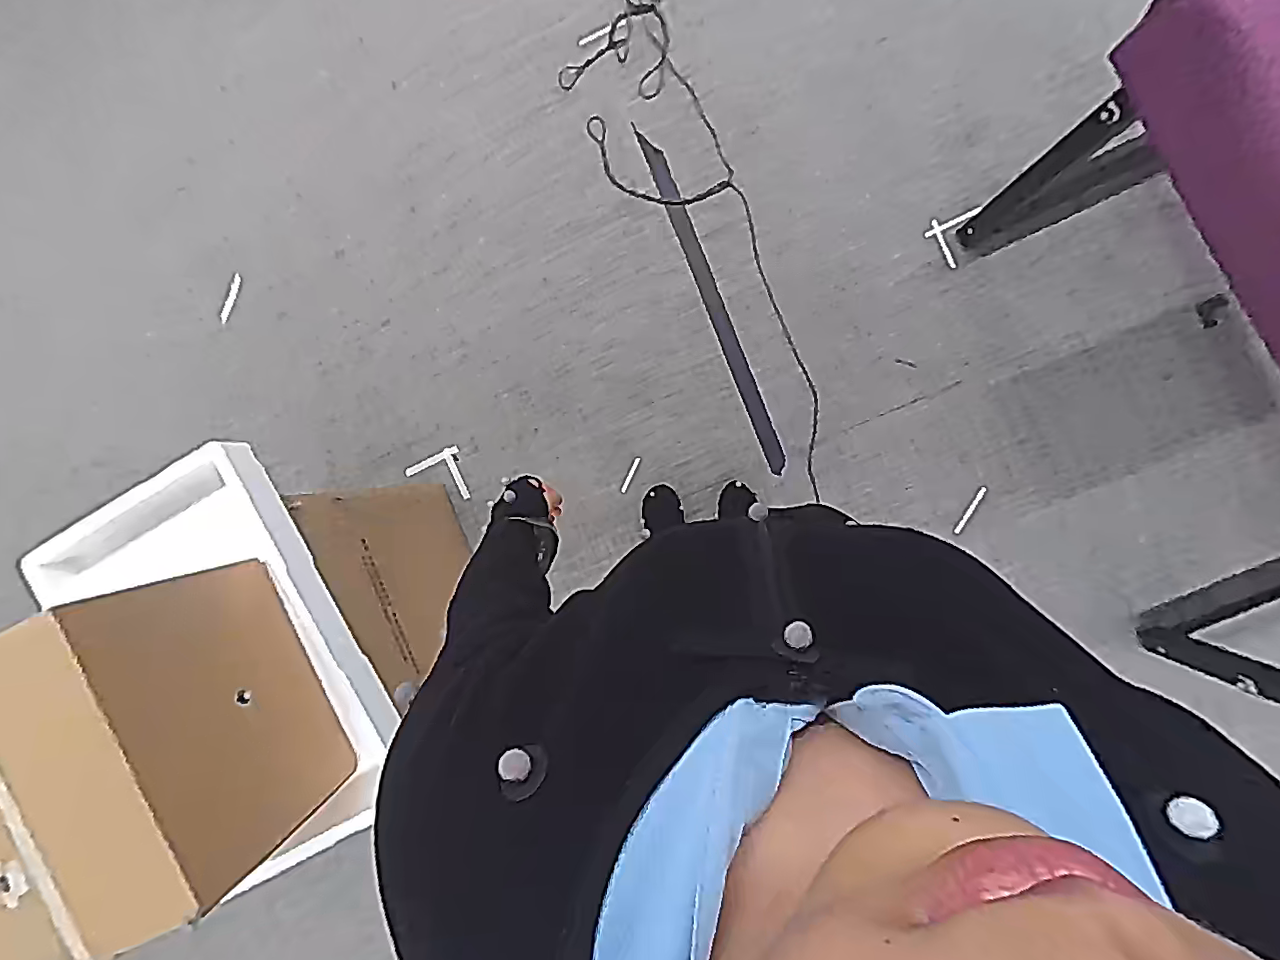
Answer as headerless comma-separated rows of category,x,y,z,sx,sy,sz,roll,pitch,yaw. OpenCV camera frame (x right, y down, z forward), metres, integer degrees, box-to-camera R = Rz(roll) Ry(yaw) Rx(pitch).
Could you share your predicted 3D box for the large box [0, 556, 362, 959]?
large box,-0.704,0.376,0.788,0.320,0.320,0.408,-26,91,7
